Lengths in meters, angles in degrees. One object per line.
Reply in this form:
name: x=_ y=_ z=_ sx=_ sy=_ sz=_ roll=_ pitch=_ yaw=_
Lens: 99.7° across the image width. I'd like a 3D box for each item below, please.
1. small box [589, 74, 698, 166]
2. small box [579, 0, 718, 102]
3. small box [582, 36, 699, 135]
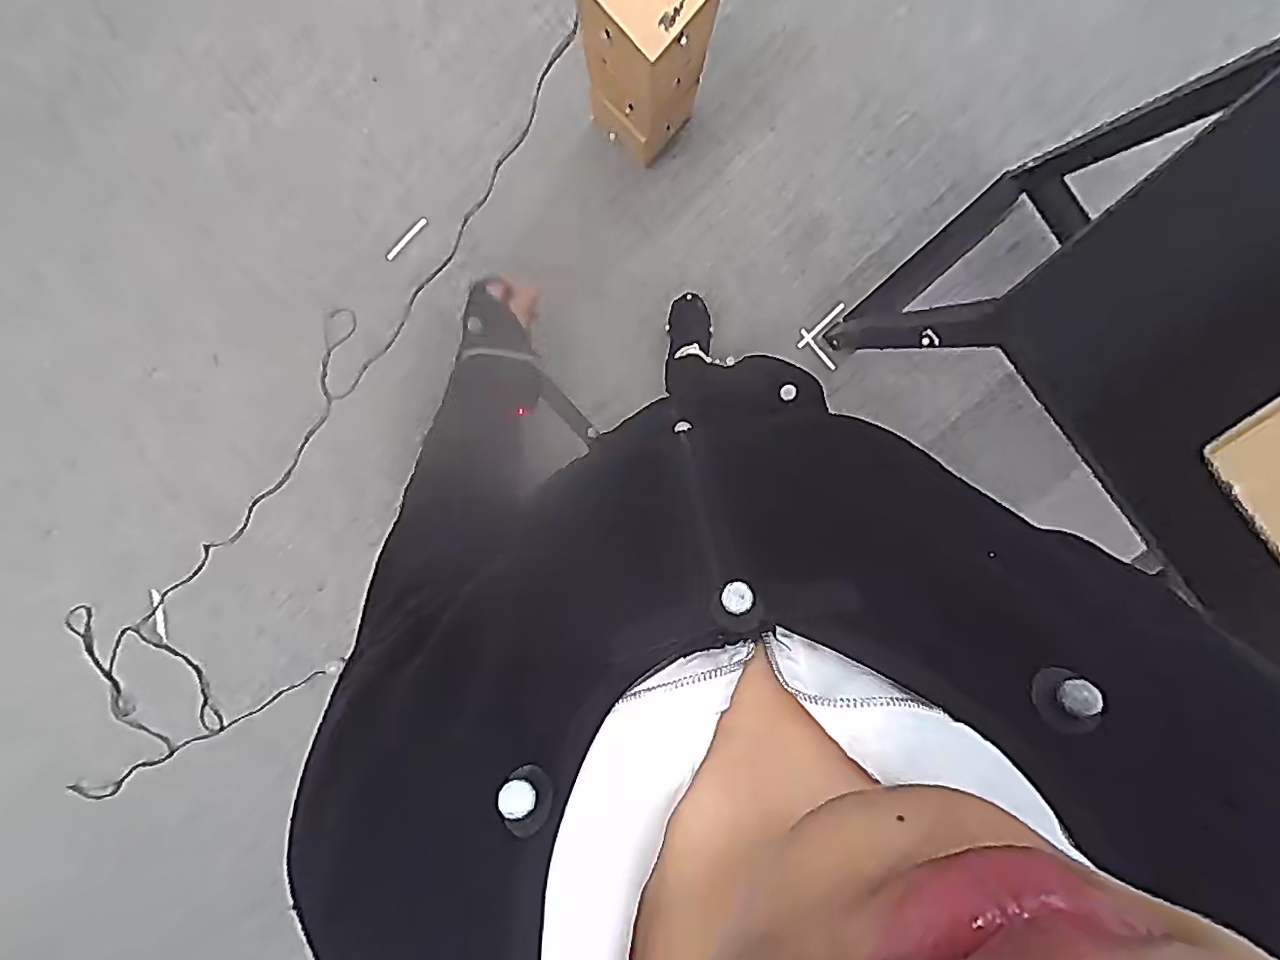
small box: x=0.005 y=-0.859 z=1.220 sx=0.168 sy=0.176 sz=0.179 roll=43 pitch=100 yaw=-9
small box: x=0.009 y=-0.788 z=0.902 sx=0.179 sy=0.176 sz=0.168 roll=43 pitch=99 yaw=-9
small box: x=0.008 y=-0.829 z=1.061 sx=0.168 sy=0.176 sz=0.179 roll=39 pitch=98 yaw=-10
